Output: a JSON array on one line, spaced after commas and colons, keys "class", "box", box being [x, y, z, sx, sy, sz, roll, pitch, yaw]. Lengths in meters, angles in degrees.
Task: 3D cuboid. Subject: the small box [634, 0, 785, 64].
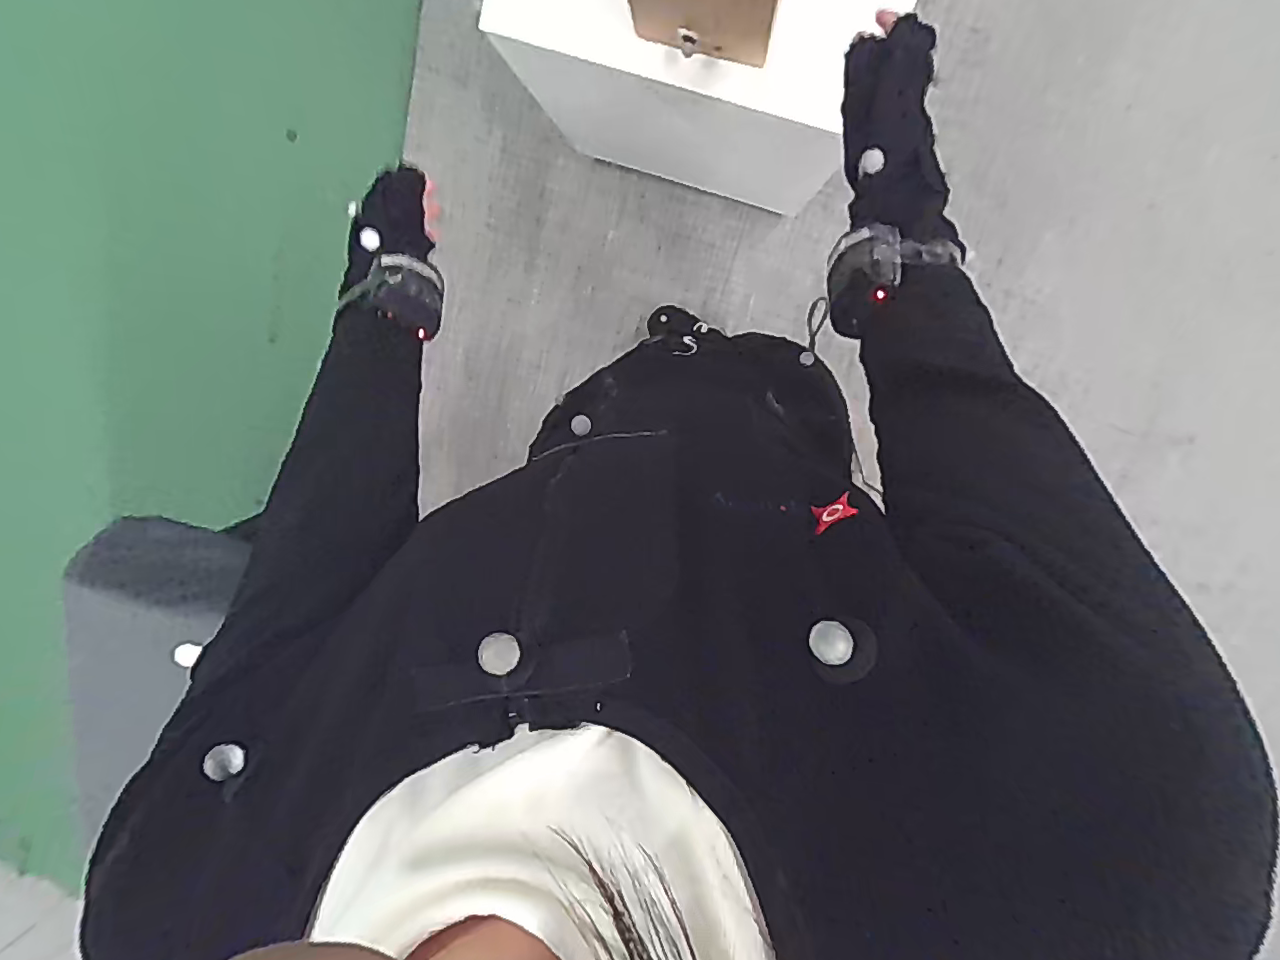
[{"class": "small box", "box": [0.083, -0.578, 0.556, 0.168, 0.176, 0.179, 16, 109, 4]}]

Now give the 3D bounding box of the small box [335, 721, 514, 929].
[{"class": "small box", "box": [-0.304, 0.491, 0.791, 0.179, 0.176, 0.168, 20, 109, 2]}]
